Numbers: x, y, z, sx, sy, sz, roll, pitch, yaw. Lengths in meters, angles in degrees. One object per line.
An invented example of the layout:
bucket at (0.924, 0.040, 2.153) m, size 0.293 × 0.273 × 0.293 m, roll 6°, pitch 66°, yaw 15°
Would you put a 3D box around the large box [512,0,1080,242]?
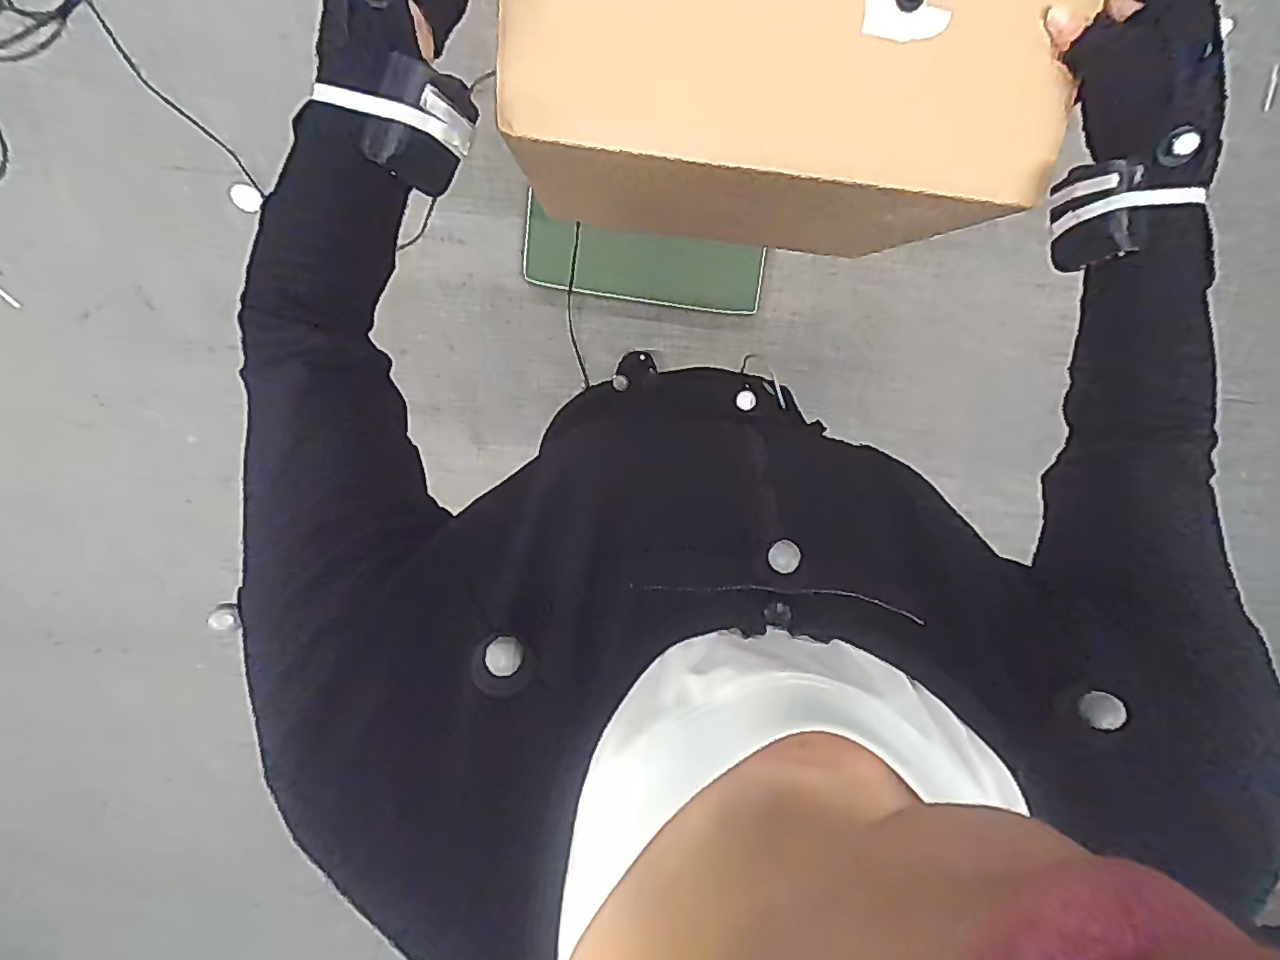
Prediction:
large box at (0.106, -0.426, 0.501) m, size 0.408 × 0.320 × 0.320 m, roll 4°, pitch 107°, yaw -6°
